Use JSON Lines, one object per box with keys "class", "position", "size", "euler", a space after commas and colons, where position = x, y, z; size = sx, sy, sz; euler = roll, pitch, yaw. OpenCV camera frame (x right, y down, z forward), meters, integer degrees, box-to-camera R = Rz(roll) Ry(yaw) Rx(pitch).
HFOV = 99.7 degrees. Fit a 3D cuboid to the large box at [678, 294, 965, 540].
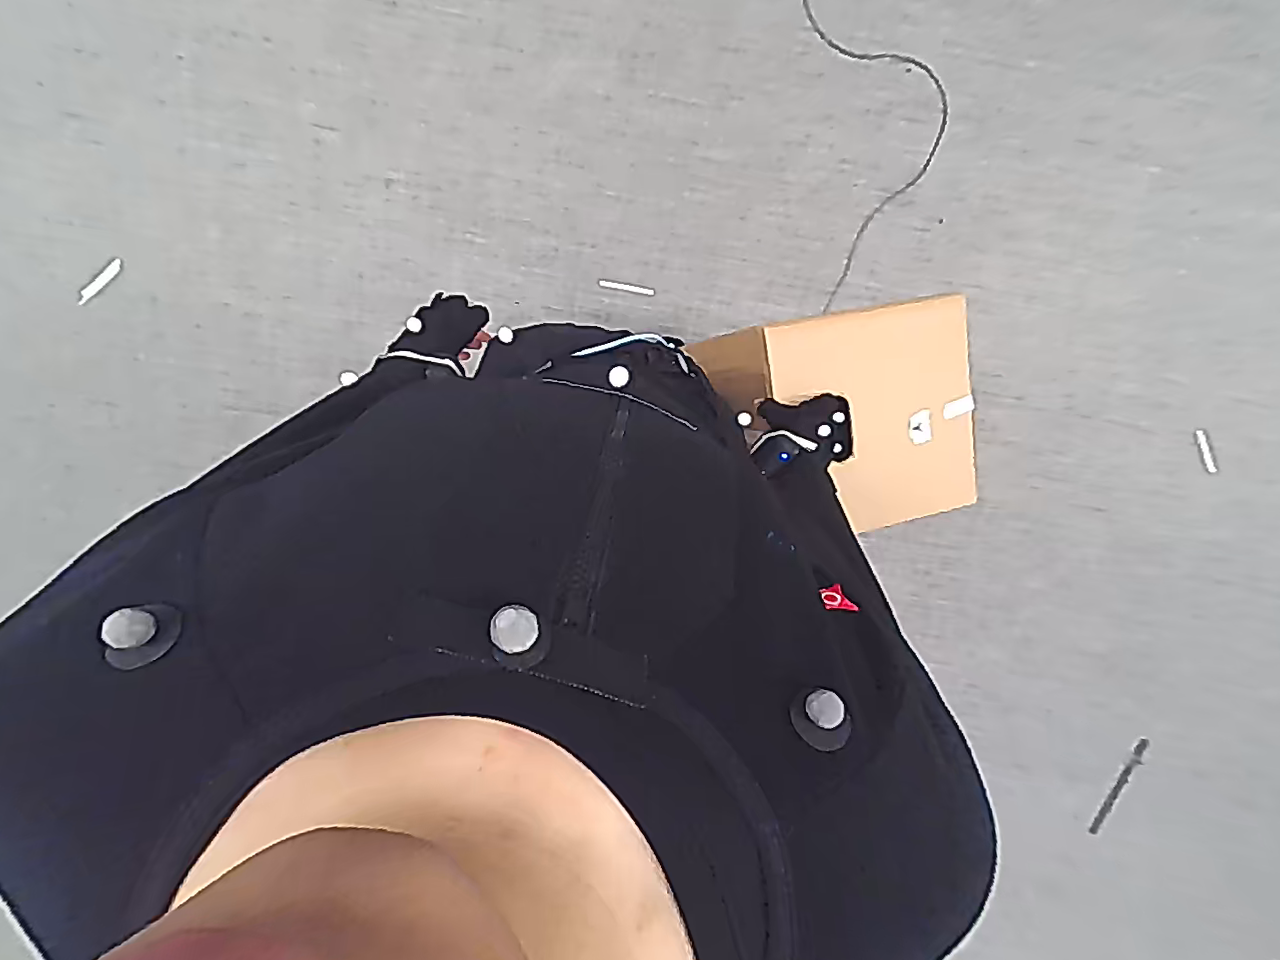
{"class": "large box", "position": [0.289, -0.118, 0.963], "size": [0.320, 0.408, 0.320], "euler": [-12, 101, -10]}
